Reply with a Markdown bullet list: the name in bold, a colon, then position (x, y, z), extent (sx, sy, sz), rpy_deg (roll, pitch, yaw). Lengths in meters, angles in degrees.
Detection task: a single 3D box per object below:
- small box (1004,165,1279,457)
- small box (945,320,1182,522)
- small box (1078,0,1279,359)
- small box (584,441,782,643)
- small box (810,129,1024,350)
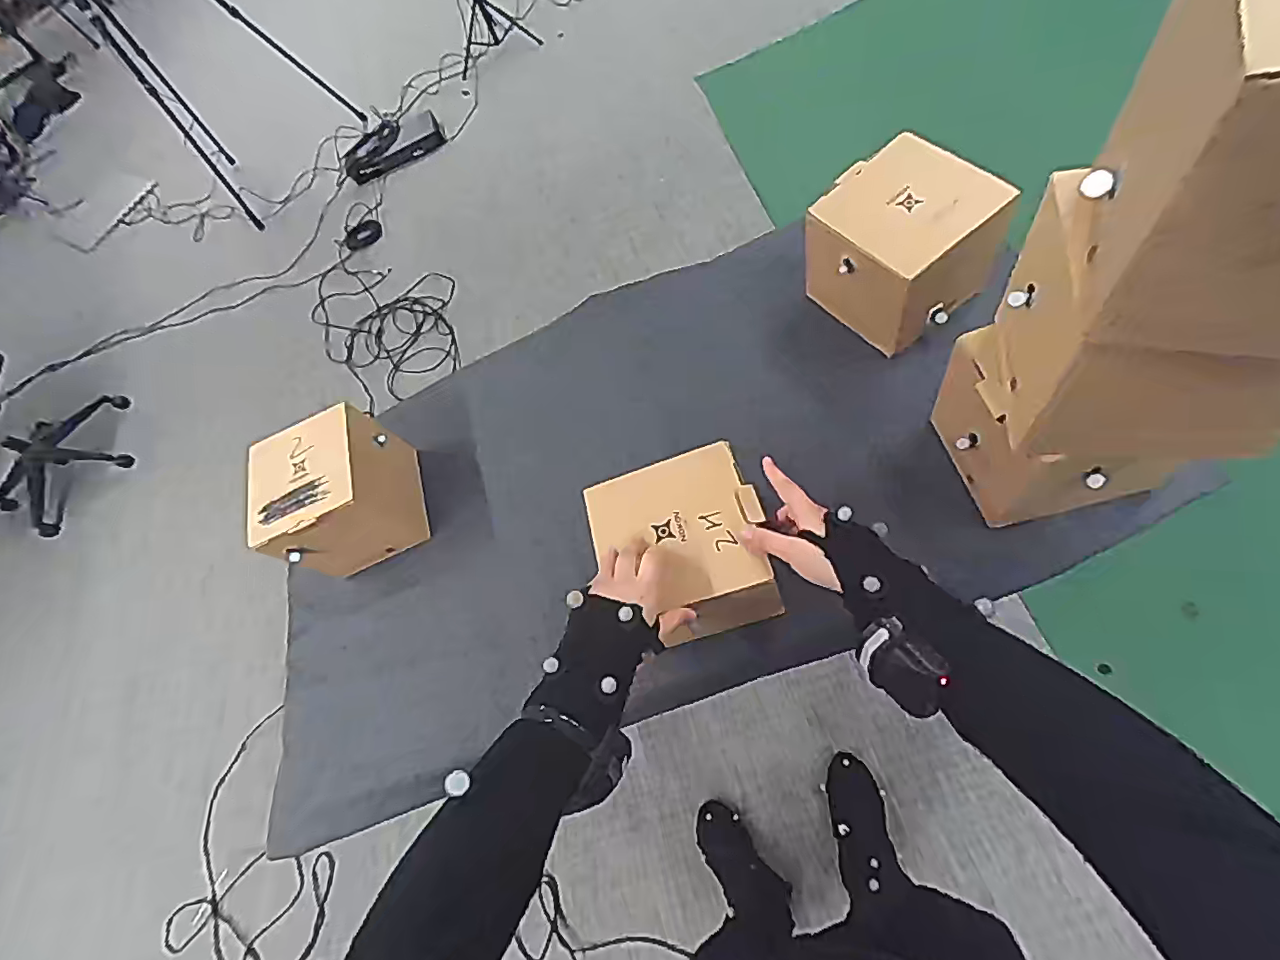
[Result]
- **small box**: position (0.413, -0.128, 0.432), extent (0.179, 0.176, 0.168), rpy_deg (3, 66, 19)
- **small box**: position (0.453, -0.072, 0.581), extent (0.179, 0.176, 0.168), rpy_deg (-17, 61, 10)
- **small box**: position (0.371, -0.177, 0.278), extent (0.179, 0.176, 0.168), rpy_deg (13, 69, 24)
- **small box**: position (0.056, 0.084, 0.638), extent (0.179, 0.176, 0.168), rpy_deg (-19, 63, 9)
- **small box**: position (0.347, -0.309, 0.719), extent (0.168, 0.176, 0.179), rpy_deg (-38, 64, 1)
